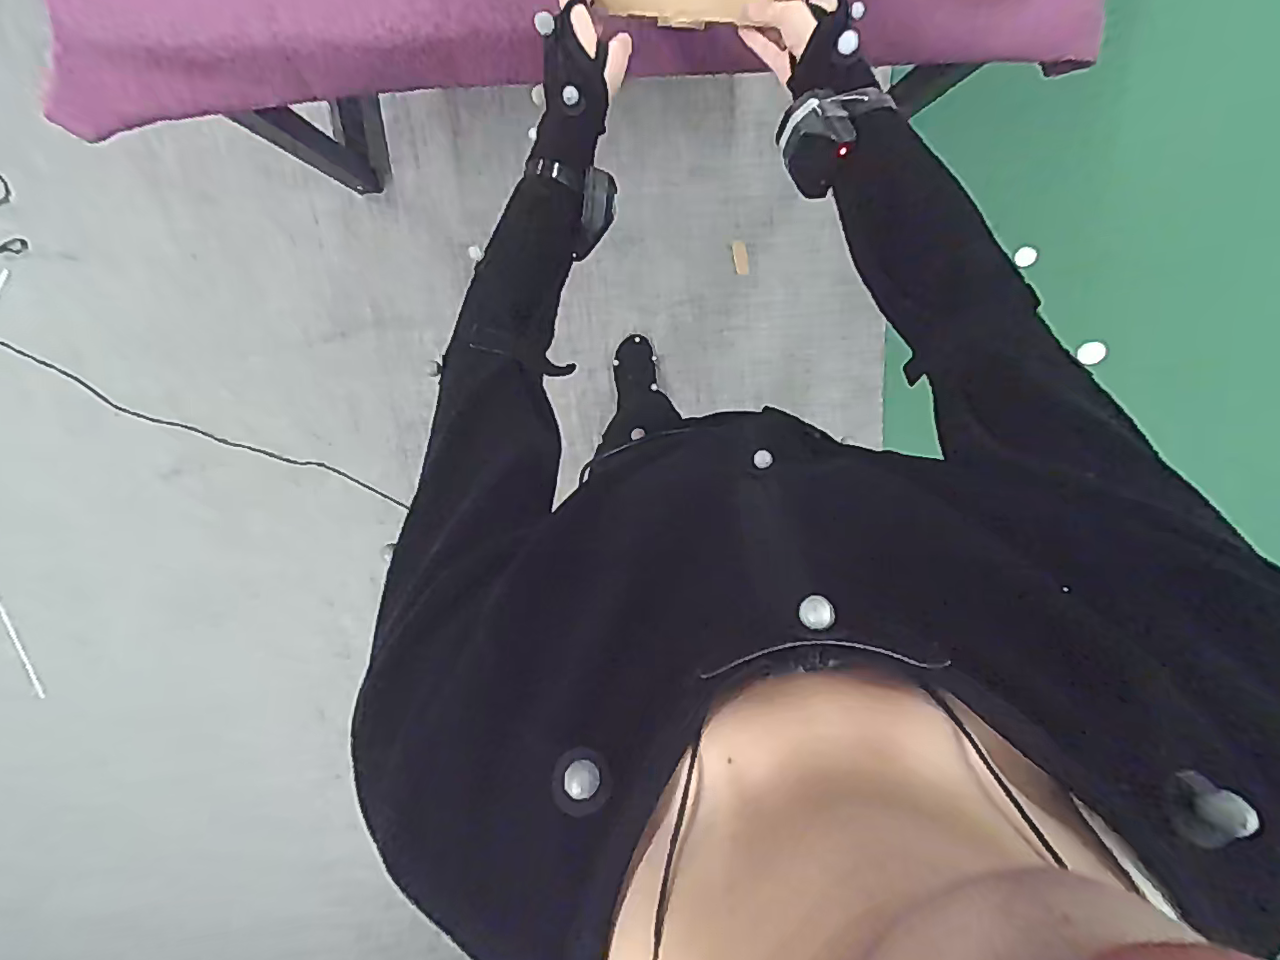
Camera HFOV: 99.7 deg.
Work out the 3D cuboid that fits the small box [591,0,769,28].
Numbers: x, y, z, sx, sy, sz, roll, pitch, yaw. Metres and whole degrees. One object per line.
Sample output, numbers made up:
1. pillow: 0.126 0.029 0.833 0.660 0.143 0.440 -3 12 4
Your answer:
1. small box: 0.042 -0.545 0.488 0.168 0.176 0.179 1 140 -3
